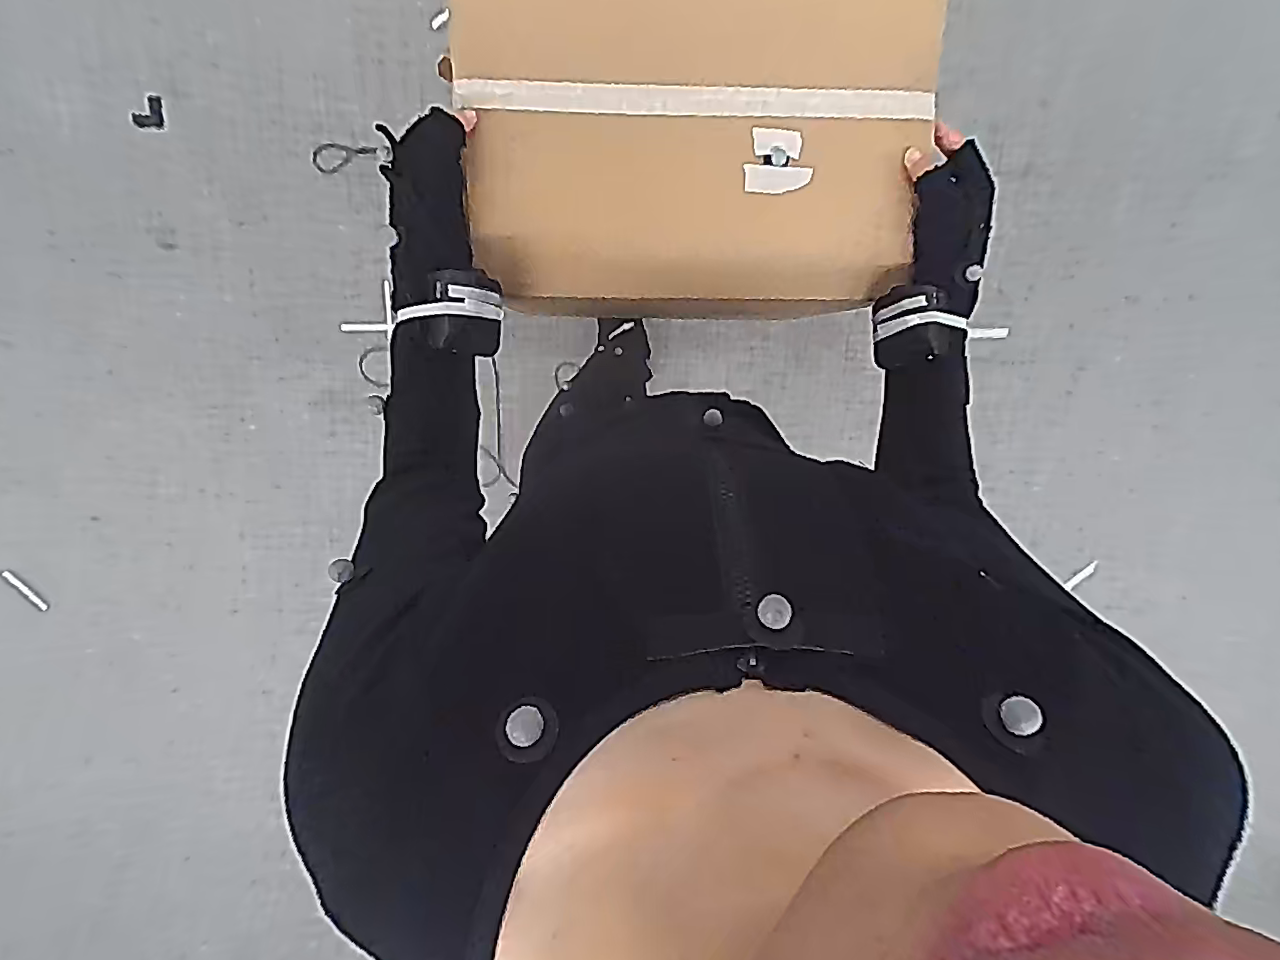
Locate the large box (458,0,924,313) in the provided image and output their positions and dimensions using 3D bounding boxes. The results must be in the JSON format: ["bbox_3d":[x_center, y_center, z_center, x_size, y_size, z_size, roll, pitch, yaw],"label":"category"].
[{"bbox_3d":[0.037,-0.366,0.618,0.408,0.320,0.320,-1,104,-4],"label":"large box"}]
